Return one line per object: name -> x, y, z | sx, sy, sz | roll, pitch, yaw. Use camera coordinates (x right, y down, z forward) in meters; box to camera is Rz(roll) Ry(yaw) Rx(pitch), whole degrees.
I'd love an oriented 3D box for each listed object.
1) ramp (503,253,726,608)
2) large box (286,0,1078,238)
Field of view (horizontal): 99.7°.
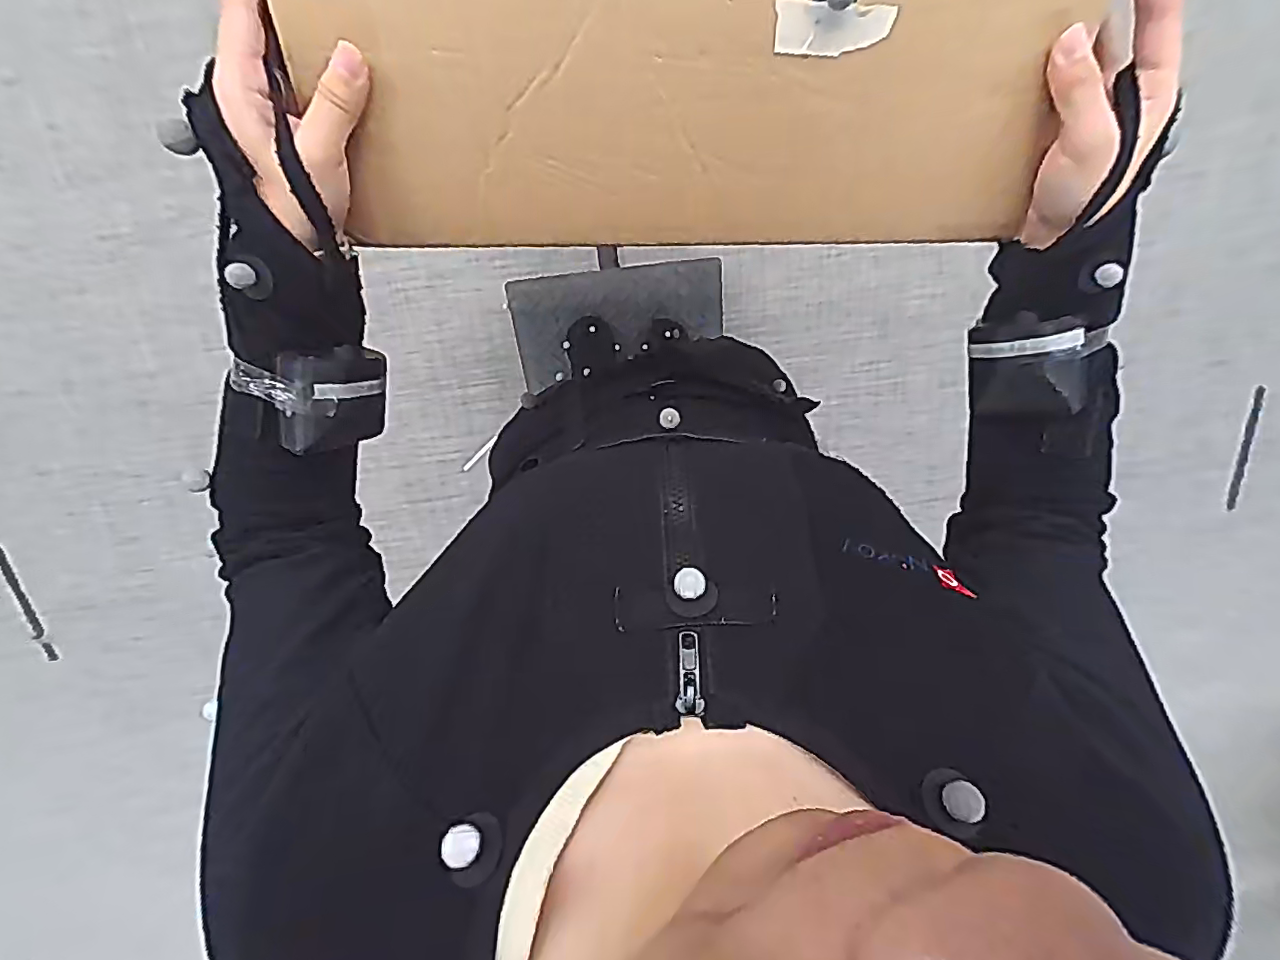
ramp -> -0.017, -0.055, 1.453 | 0.509, 0.206, 0.991 | -8, 110, -1
large box -> 0.016, -0.363, 0.365 | 0.408, 0.320, 0.320 | -2, 125, -2
